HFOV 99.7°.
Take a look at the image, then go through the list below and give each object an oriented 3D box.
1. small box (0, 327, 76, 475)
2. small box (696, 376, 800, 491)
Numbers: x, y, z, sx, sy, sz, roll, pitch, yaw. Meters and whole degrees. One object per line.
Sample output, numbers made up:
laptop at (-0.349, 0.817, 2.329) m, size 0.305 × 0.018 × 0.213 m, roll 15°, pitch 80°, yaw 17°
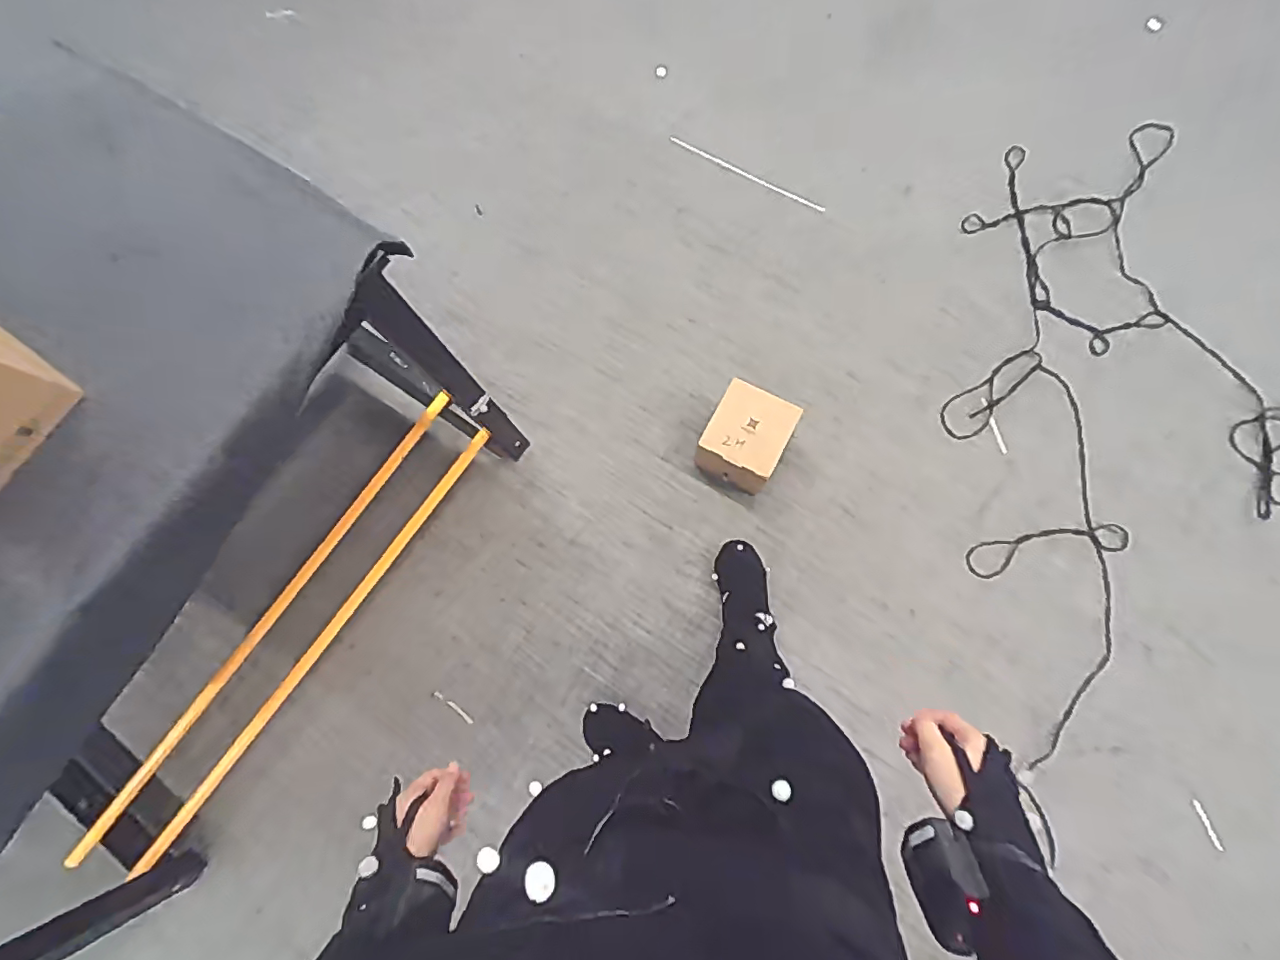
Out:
small box at (-0.727, -0.095, 0.519) m, size 0.179 × 0.176 × 0.168 m, roll 32°, pitch 80°, yaw 11°
small box at (0.233, -0.097, 1.216) m, size 0.168 × 0.176 × 0.179 m, roll 27°, pitch 80°, yaw 9°
